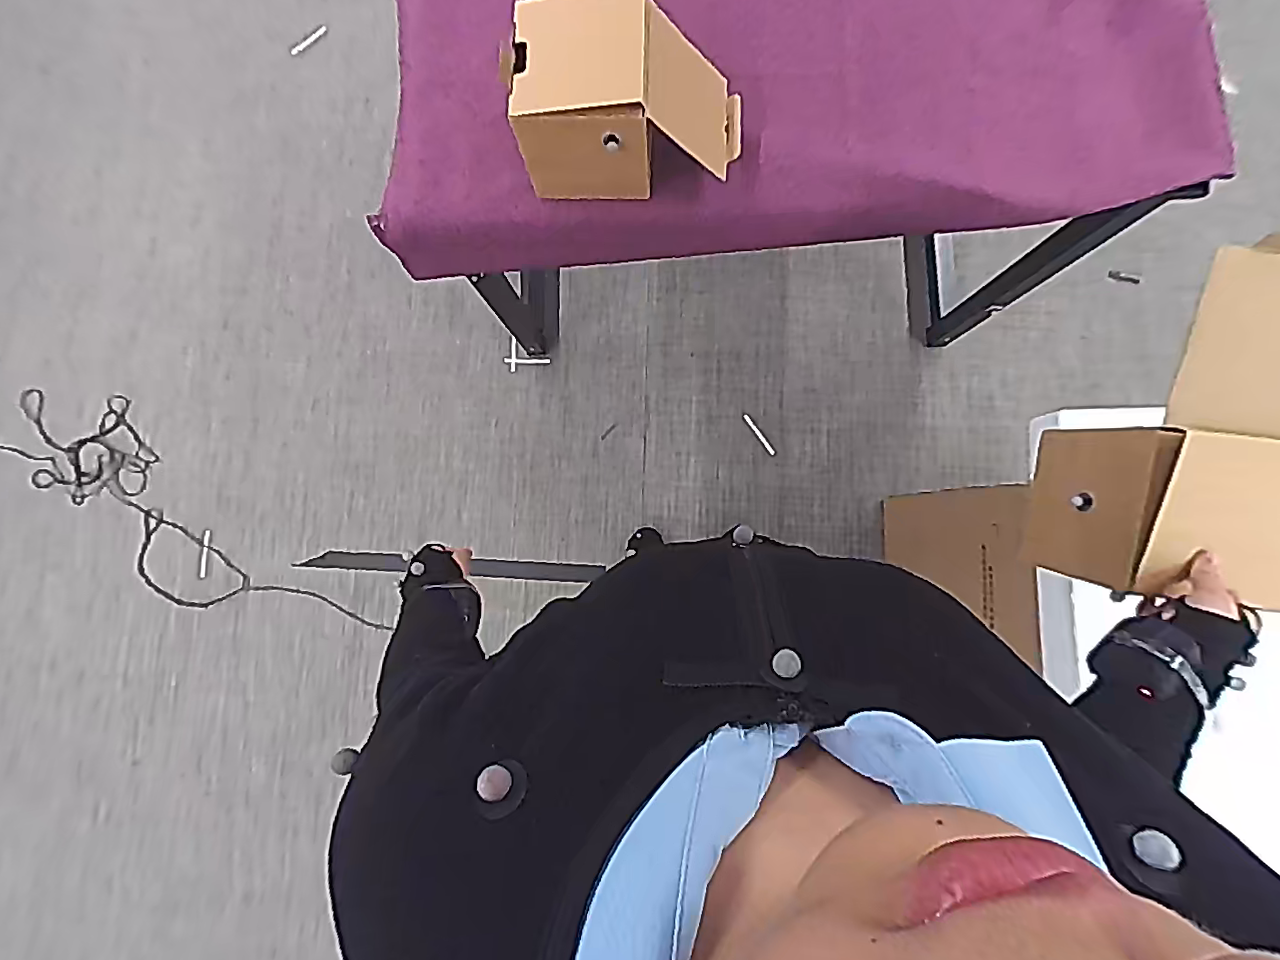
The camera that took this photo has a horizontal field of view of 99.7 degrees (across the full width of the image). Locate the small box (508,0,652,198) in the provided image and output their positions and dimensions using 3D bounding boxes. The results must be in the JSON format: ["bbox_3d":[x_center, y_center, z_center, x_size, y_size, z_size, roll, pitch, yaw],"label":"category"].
[{"bbox_3d":[-0.072,-0.524,0.762,0.179,0.176,0.168,2,83,3],"label":"small box"}]
